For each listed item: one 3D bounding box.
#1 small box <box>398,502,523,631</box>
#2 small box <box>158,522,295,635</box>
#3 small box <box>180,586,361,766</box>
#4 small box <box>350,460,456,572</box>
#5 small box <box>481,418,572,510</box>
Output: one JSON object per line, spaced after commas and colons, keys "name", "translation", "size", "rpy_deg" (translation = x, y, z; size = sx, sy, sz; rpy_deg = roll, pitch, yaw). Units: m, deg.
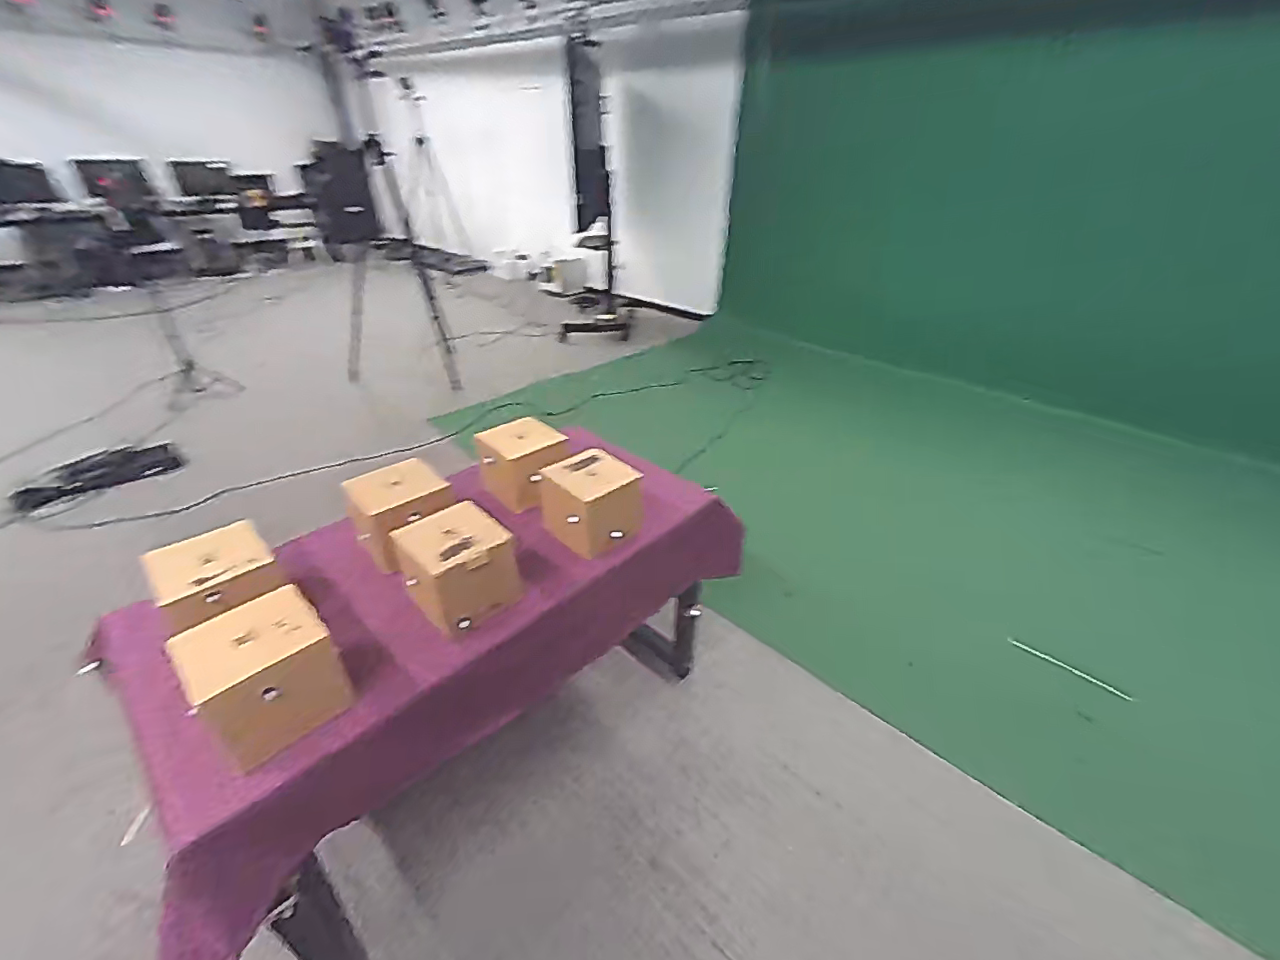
{"name": "small box", "translation": [-0.354, 0.177, 1.088], "size": [0.168, 0.176, 0.179], "rpy_deg": [-27, 40, -36]}
{"name": "small box", "translation": [-0.766, 0.213, 1.025], "size": [0.168, 0.176, 0.179], "rpy_deg": [-27, 41, -37]}
{"name": "small box", "translation": [-0.585, 0.312, 0.869], "size": [0.168, 0.176, 0.179], "rpy_deg": [28, 41, 36]}
{"name": "small box", "translation": [-0.529, 0.082, 1.240], "size": [0.179, 0.176, 0.168], "rpy_deg": [-25, 41, -36]}
{"name": "small box", "translation": [-0.295, -0.039, 1.435], "size": [0.168, 0.176, 0.179], "rpy_deg": [-26, 40, -35]}
